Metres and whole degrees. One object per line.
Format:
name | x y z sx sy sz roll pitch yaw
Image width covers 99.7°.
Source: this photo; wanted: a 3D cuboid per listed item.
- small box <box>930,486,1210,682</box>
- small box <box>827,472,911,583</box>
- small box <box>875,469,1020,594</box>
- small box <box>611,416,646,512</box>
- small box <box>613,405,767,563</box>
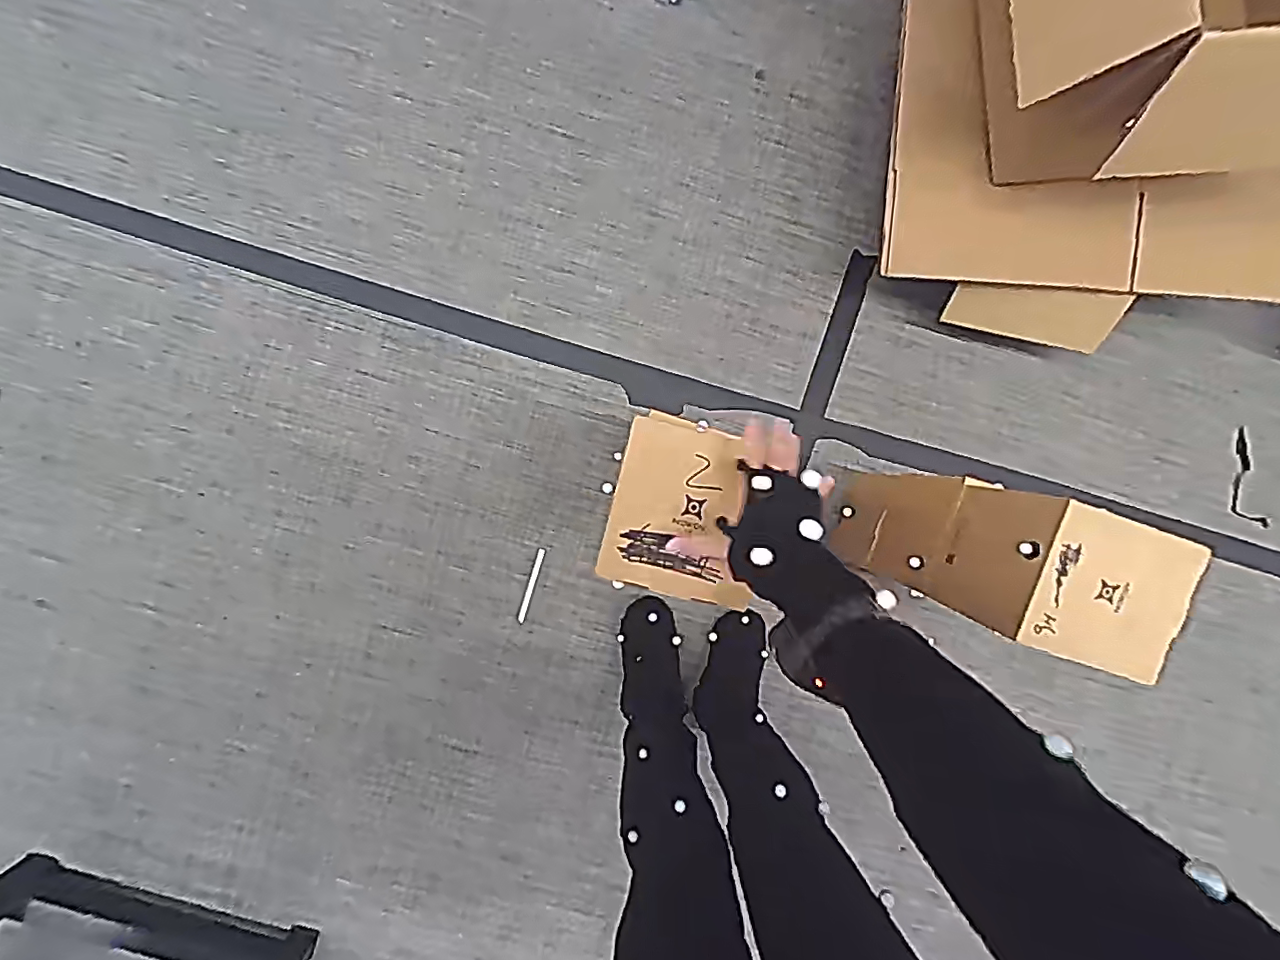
small box | 0.505 0.113 0.662 0.179 0.176 0.168 19 94 -5
small box | 0.478 0.089 0.986 0.179 0.176 0.168 21 93 -4
small box | 0.489 0.089 0.824 0.168 0.176 0.179 17 94 -5
small box | 0.053 -0.011 0.962 0.179 0.176 0.168 15 93 -2
small box | 0.065 0.003 0.799 0.168 0.176 0.179 17 92 -3
